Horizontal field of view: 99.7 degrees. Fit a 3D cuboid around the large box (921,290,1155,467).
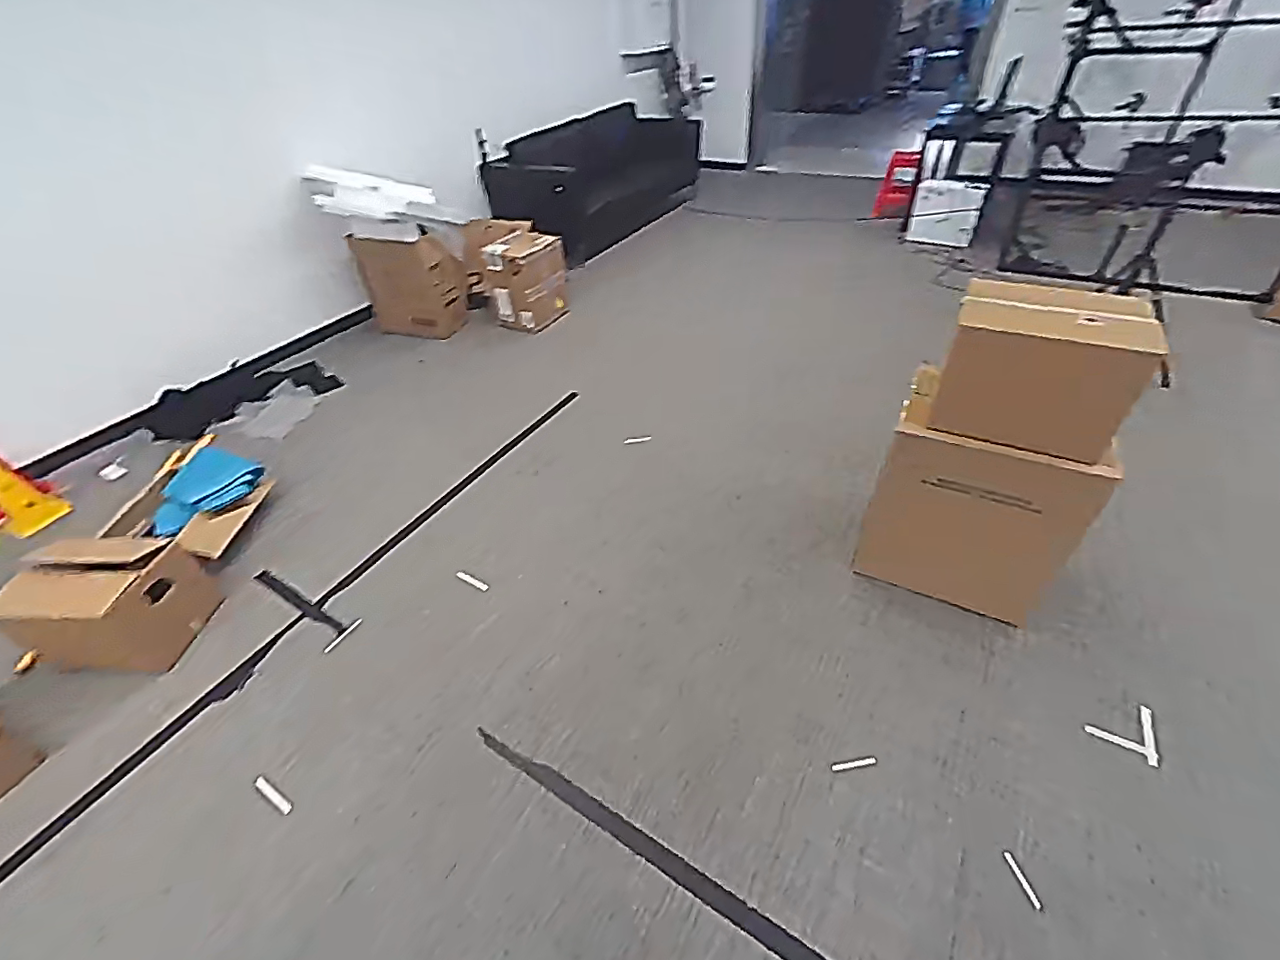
[{"bbox_3d":[1.022,-0.280,1.446,0.408,0.320,0.320,17,46,23],"label":"large box"}]
